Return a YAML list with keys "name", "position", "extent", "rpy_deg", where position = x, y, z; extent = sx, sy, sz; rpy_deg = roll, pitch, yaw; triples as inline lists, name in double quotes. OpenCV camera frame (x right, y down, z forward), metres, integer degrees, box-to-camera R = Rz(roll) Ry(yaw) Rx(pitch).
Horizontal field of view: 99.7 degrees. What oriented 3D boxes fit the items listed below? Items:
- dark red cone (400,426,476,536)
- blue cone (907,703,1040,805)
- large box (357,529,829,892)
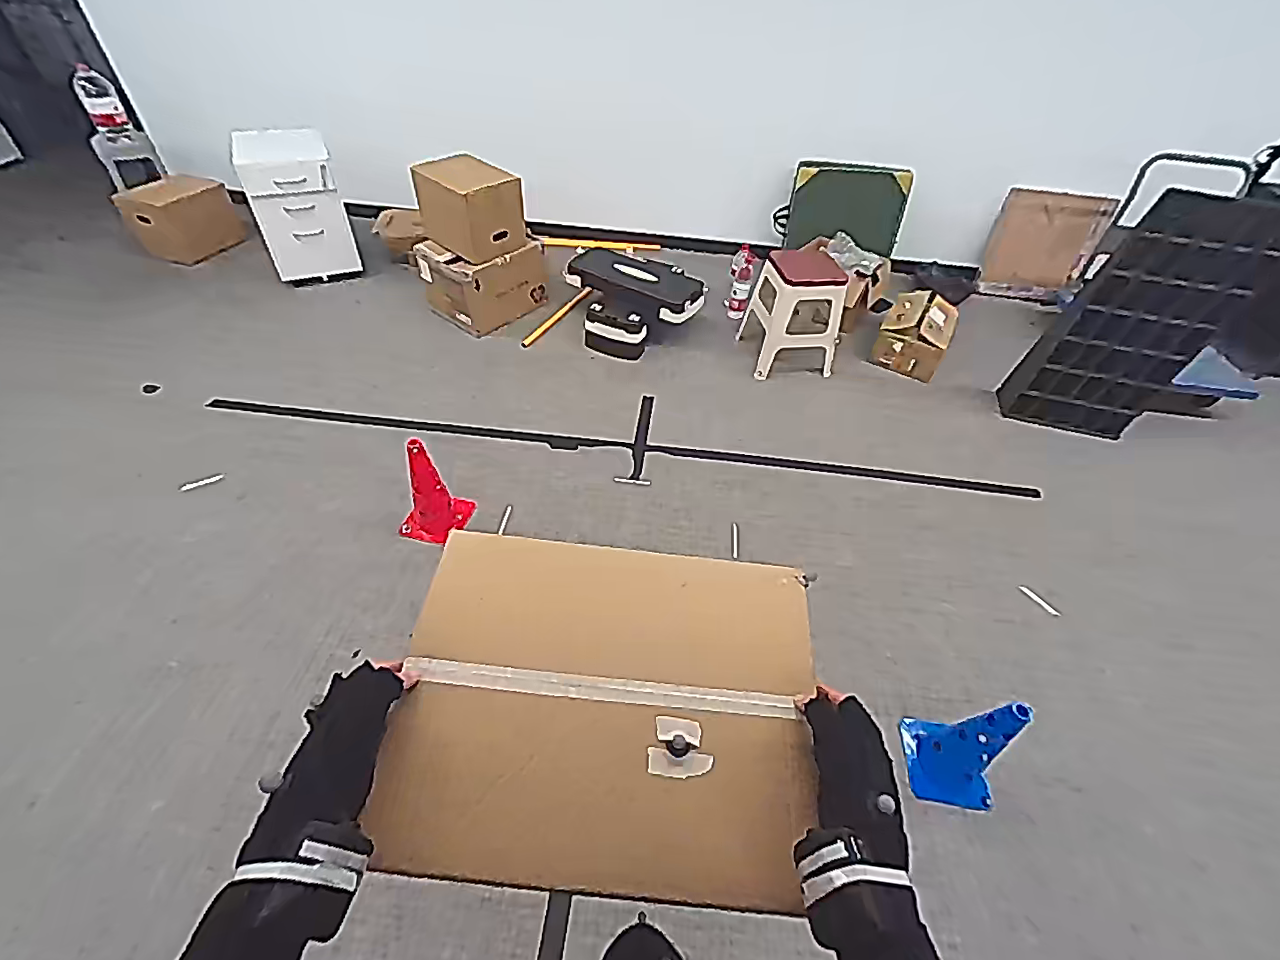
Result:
- name: "dark red cone"
  position: [-0.670, -0.012, 1.718]
  extent: [0.201, 0.394, 0.202]
  rpy_deg: [12, 47, 5]
- name: "blue cone"
  position: [0.817, 0.623, 1.296]
  extent: [0.192, 0.380, 0.193]
  rpy_deg: [10, 47, 3]
- name: "large box"
  position: [-0.039, 0.286, 0.652]
  extent: [0.408, 0.320, 0.320]
  rpy_deg: [7, 53, 0]
